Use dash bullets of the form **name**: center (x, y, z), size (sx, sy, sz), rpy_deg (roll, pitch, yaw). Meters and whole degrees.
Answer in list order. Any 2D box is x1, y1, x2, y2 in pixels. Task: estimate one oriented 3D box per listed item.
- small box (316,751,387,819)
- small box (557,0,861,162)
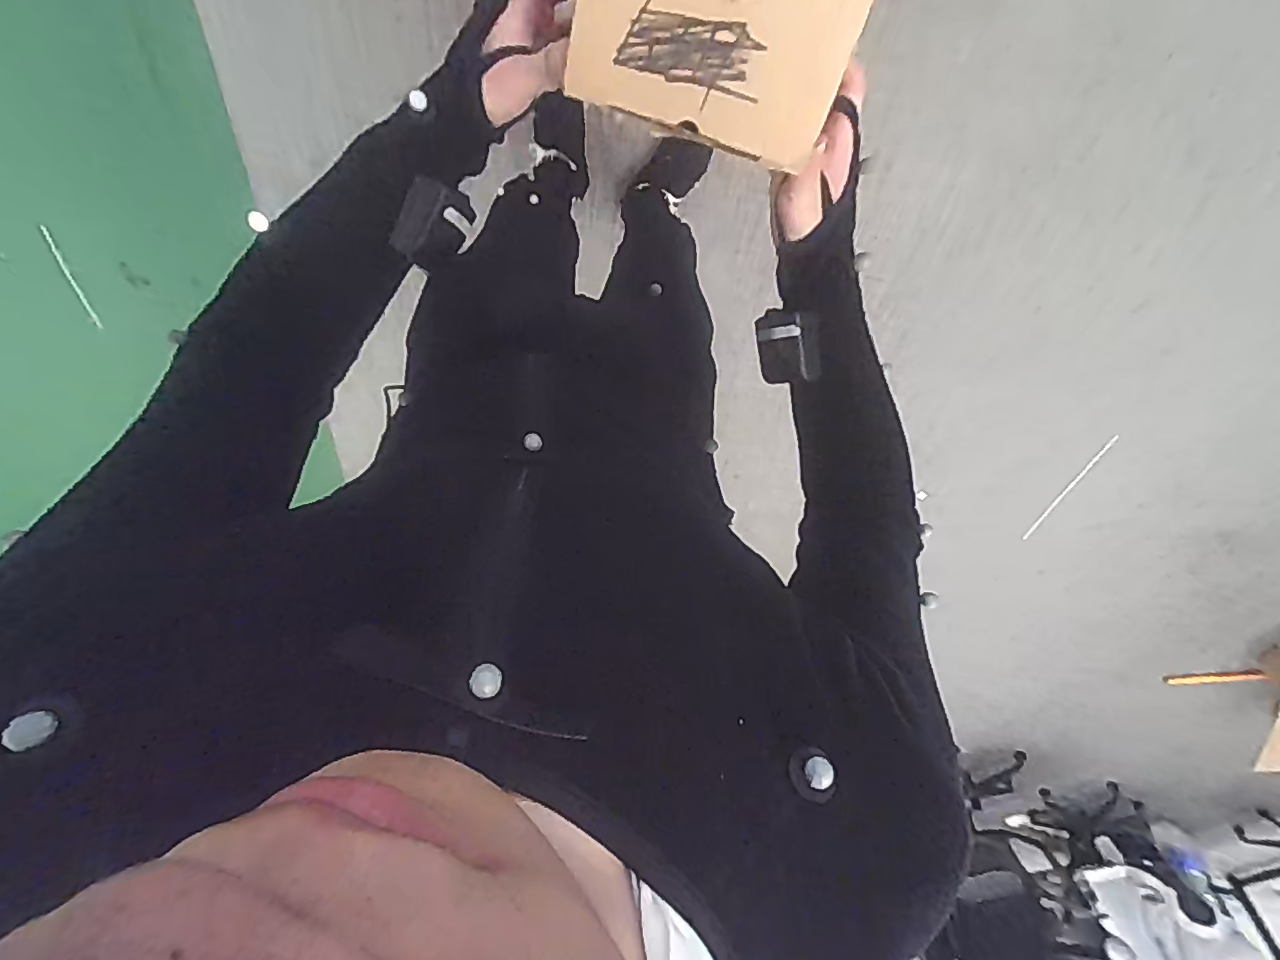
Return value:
- **small box**: center (-1.079, 1.151, 2.040), size (0.168, 0.176, 0.179), rpy_deg (9, 133, -2)
- **small box**: center (0.052, -0.342, 0.360), size (0.168, 0.176, 0.179), rpy_deg (14, 125, -8)
